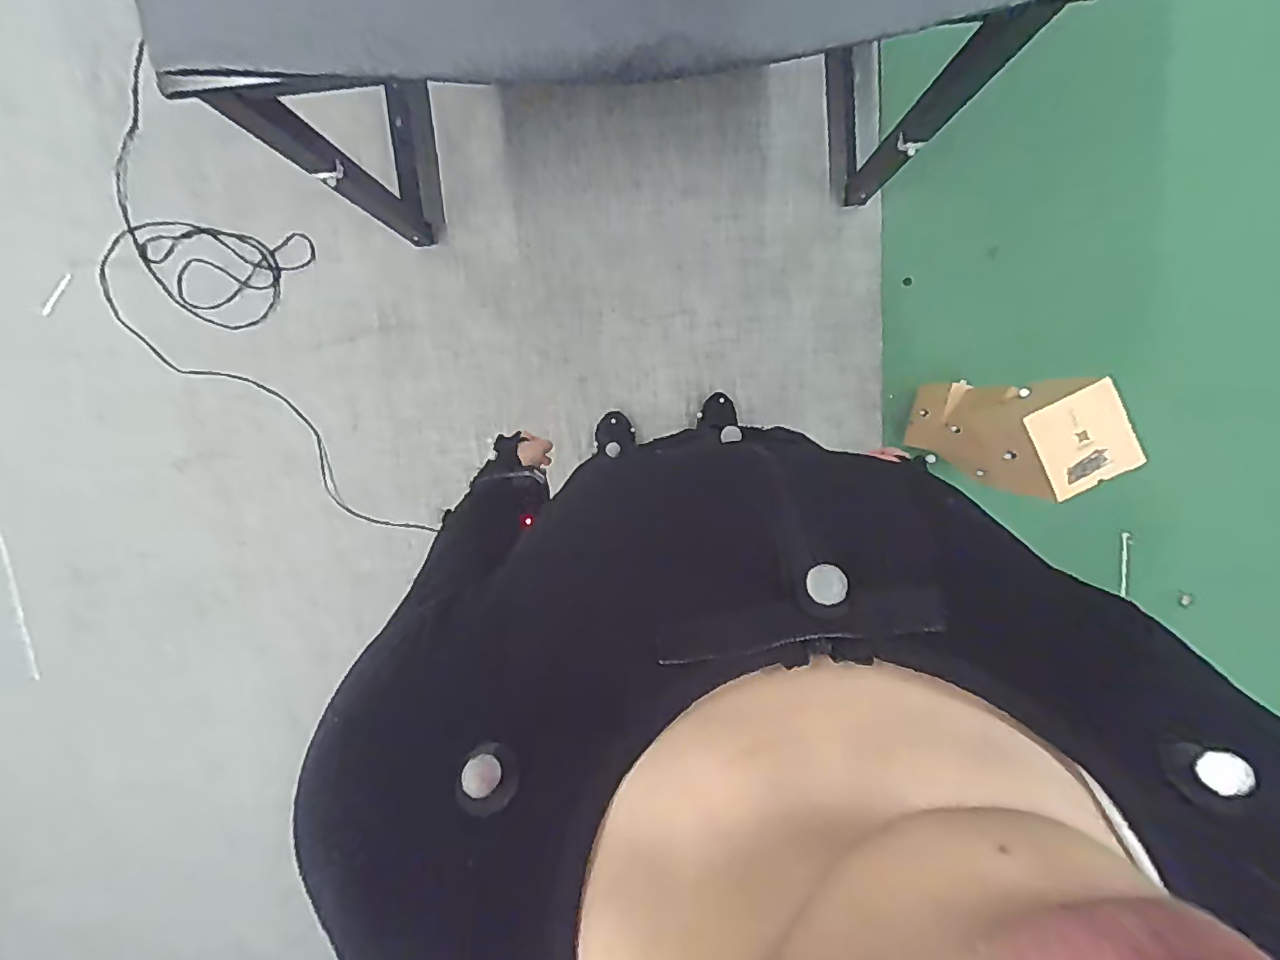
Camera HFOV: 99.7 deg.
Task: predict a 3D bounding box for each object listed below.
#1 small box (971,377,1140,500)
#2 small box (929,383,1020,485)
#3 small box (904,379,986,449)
[{"bbox_3d":[0.789,-0.085,1.044,0.168,0.176,0.179,-27,96,6],"label":"small box"},{"bbox_3d":[0.794,-0.098,1.208,0.179,0.176,0.168,33,99,-4],"label":"small box"},{"bbox_3d":[0.801,-0.153,1.364,0.179,0.176,0.168,12,99,-1],"label":"small box"}]
